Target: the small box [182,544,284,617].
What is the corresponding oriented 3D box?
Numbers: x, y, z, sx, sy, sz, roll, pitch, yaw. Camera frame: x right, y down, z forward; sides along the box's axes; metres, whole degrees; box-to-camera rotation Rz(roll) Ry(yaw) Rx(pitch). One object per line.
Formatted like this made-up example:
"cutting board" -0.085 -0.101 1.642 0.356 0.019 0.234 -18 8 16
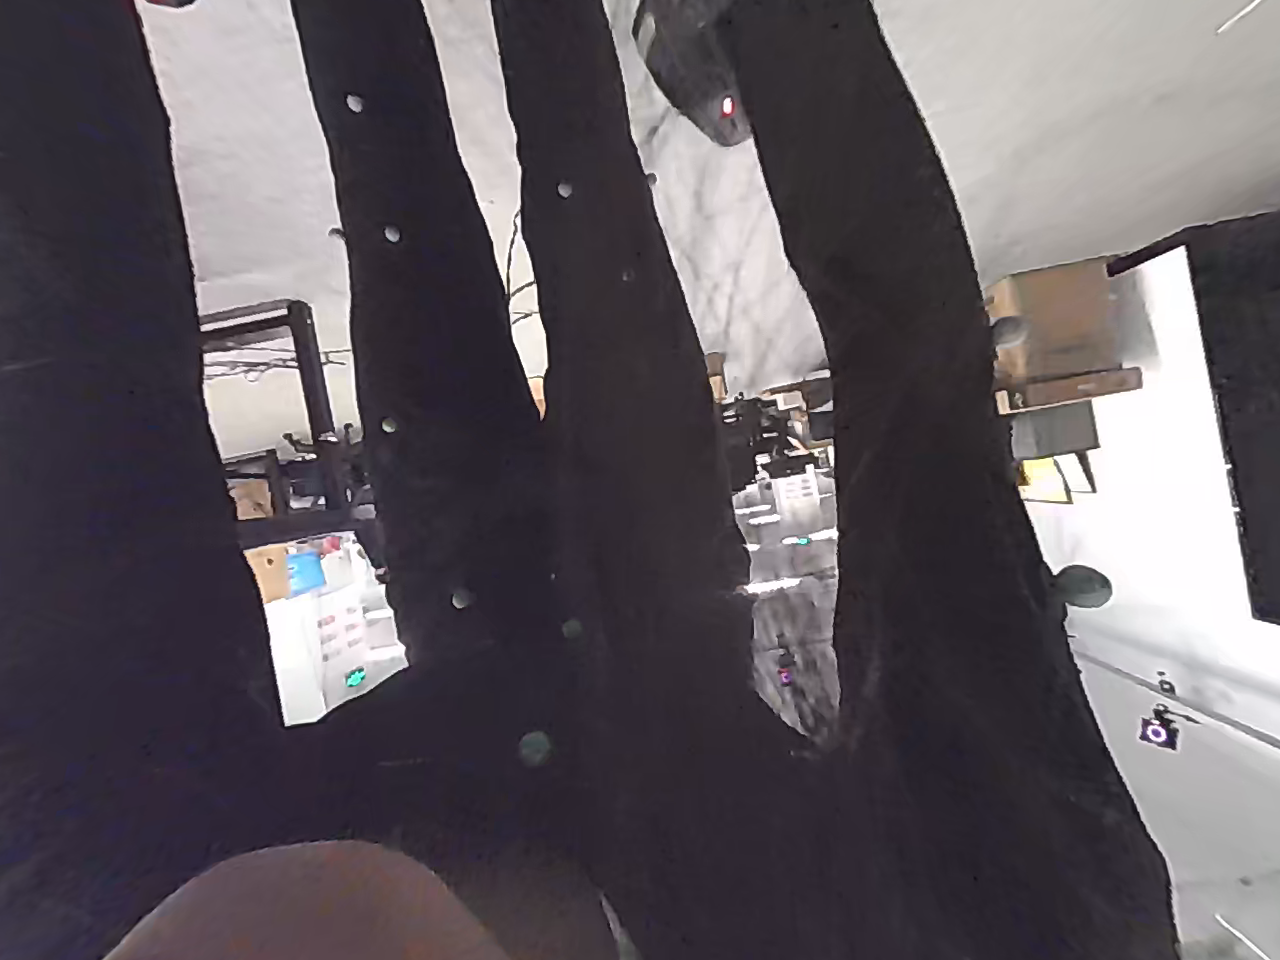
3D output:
"small box" -1.137 0.276 1.504 0.179 0.176 0.168 -9 180 3
